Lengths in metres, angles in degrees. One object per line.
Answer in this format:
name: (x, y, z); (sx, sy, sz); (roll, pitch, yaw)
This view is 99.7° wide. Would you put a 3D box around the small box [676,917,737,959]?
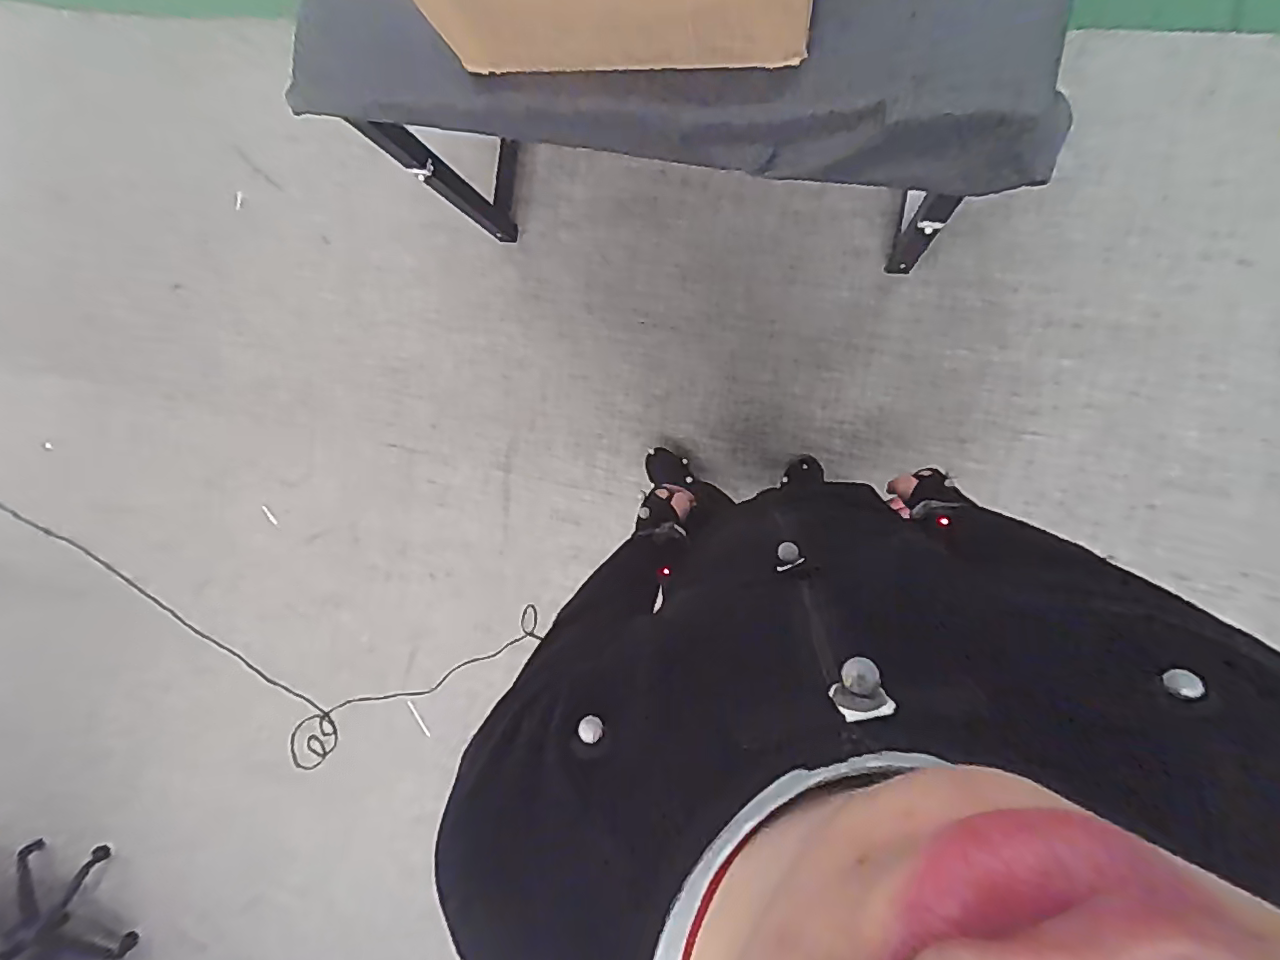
small box: (0.189, 1.423, 1.554); (0.168, 0.176, 0.179); (5, 93, 12)
